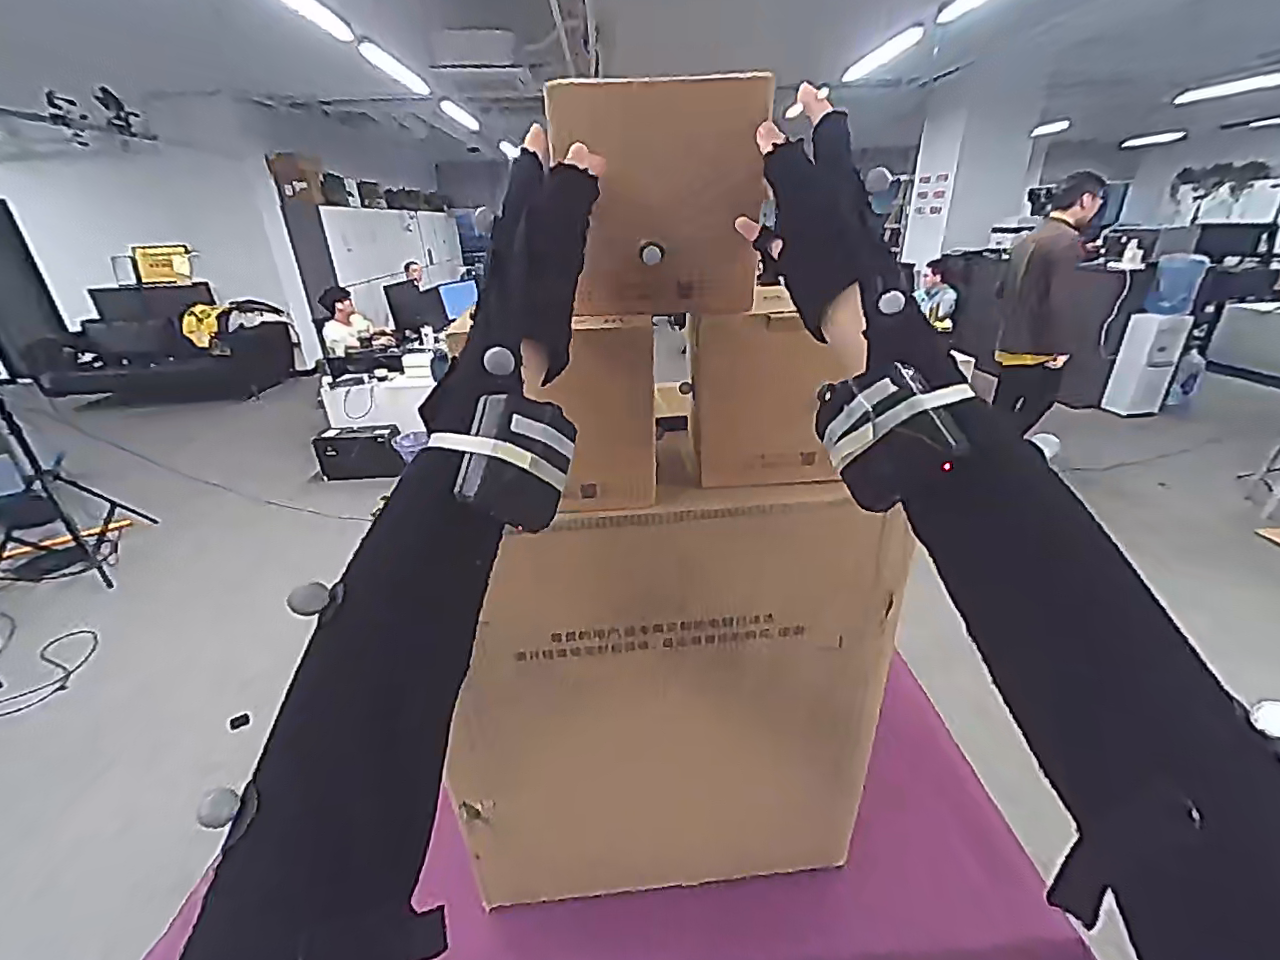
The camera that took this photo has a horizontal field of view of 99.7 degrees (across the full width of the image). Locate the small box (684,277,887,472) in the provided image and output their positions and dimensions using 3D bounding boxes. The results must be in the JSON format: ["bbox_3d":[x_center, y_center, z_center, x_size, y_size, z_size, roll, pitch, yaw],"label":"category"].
[{"bbox_3d":[0.136,-0.113,0.567,0.168,0.176,0.179,-2,24,1],"label":"small box"}]

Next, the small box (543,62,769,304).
[{"bbox_3d":[0.017,-0.265,0.495,0.168,0.176,0.179,-1,32,3],"label":"small box"}]

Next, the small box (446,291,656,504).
[{"bbox_3d":[-0.073,-0.089,0.530,0.168,0.176,0.179,-4,26,-3],"label":"small box"}]
